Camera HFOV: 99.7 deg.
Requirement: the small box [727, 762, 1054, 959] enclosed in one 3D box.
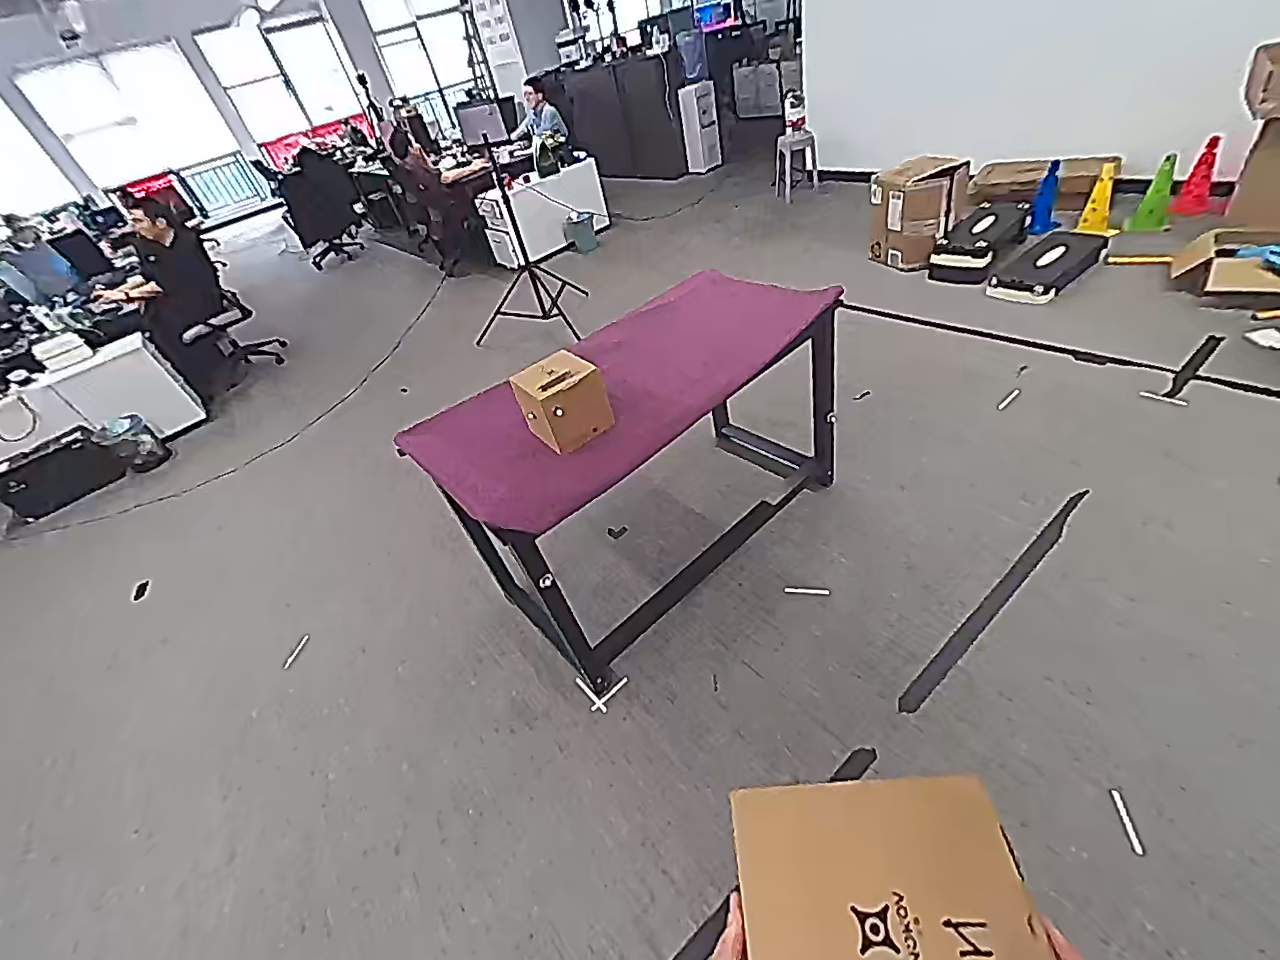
[{"bbox_3d":[0.165,0.319,0.388,0.179,0.176,0.168,-8,47,8],"label":"small box"}]
